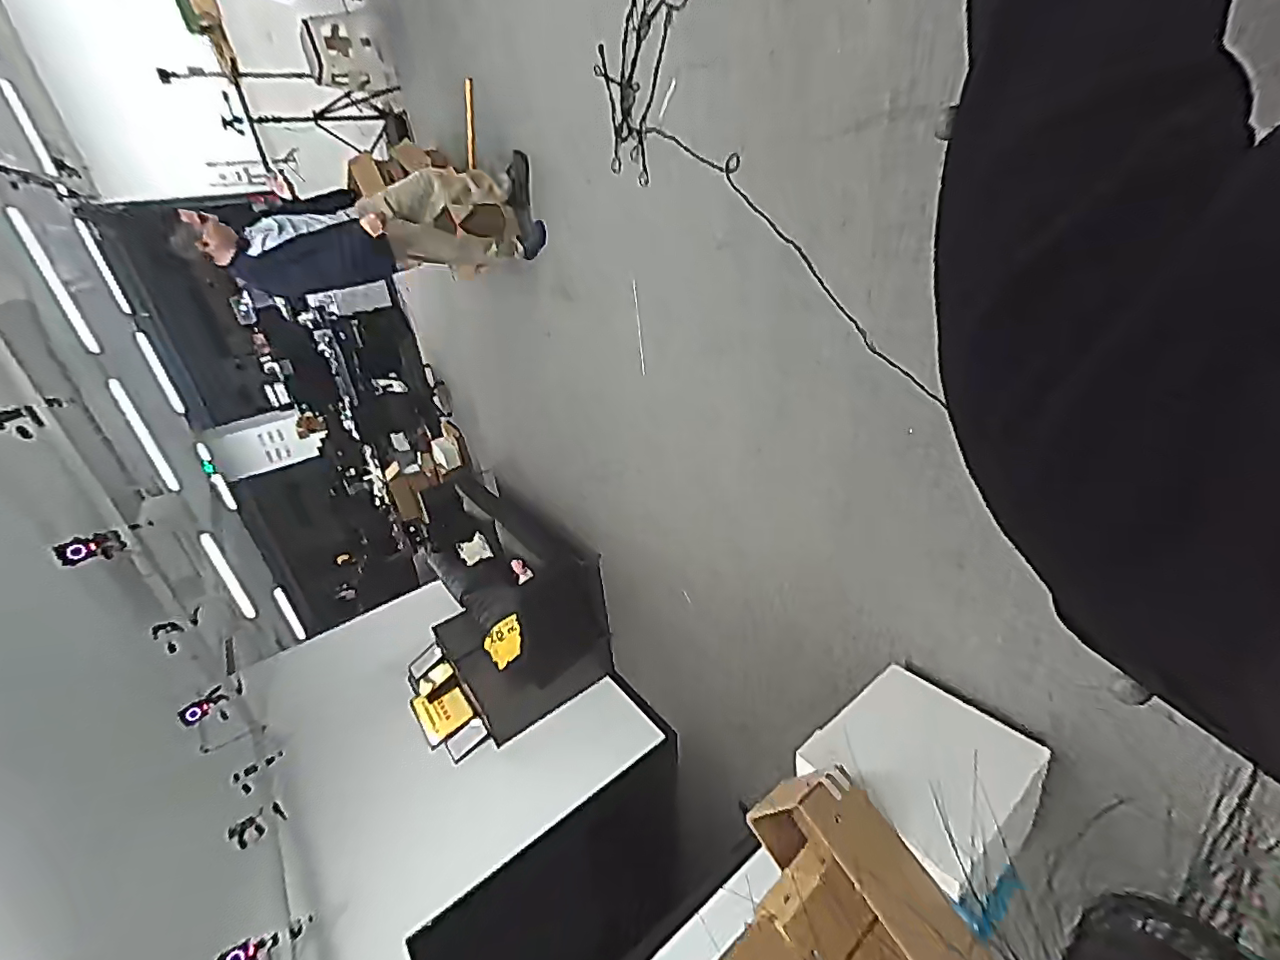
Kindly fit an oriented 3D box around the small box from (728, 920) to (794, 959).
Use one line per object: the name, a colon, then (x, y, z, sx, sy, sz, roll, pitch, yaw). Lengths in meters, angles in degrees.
small box: (0.313, 1.278, 1.370, 0.179, 0.176, 0.168, 40, 141, 33)
